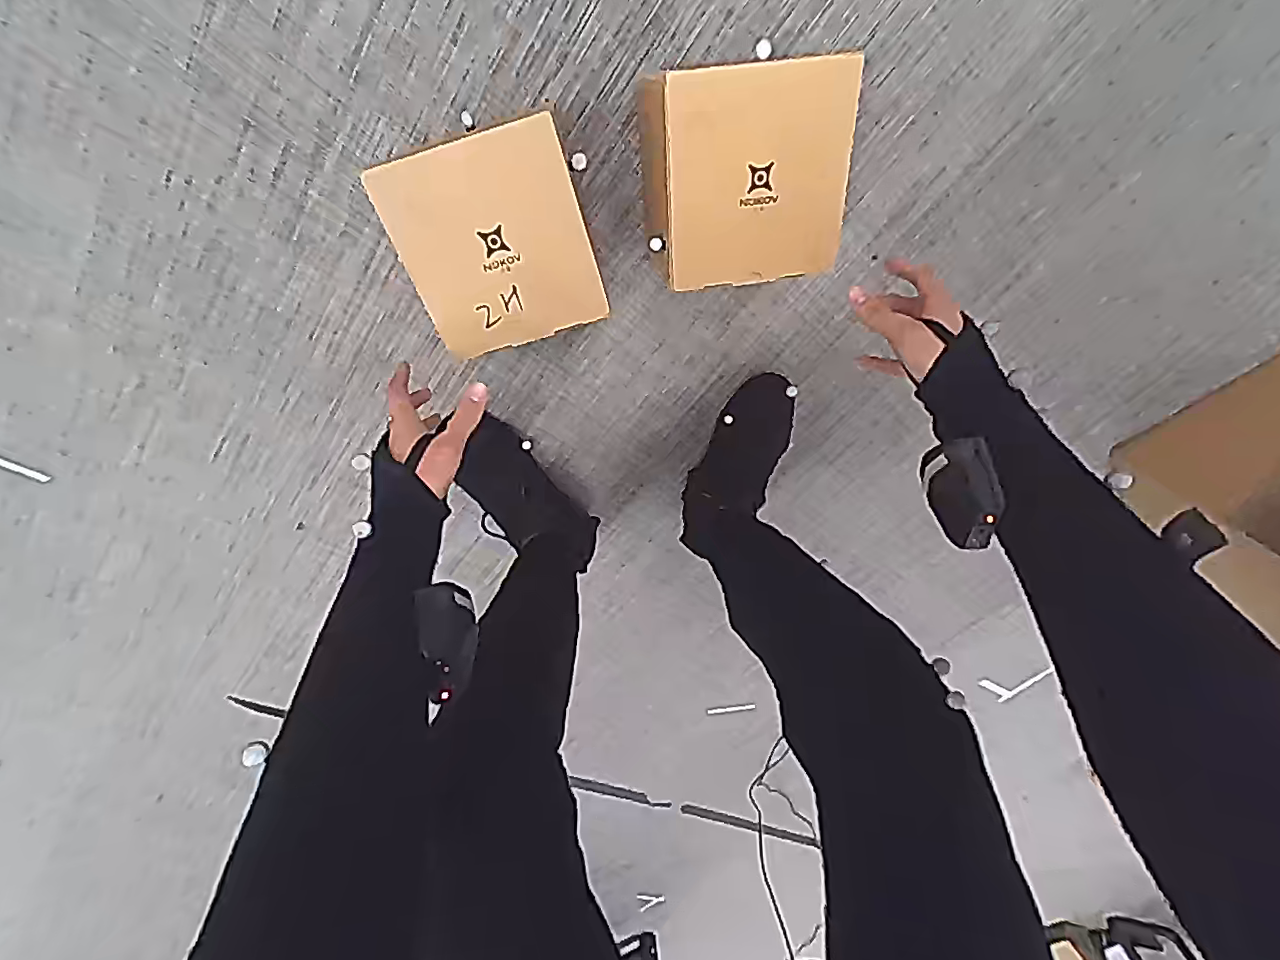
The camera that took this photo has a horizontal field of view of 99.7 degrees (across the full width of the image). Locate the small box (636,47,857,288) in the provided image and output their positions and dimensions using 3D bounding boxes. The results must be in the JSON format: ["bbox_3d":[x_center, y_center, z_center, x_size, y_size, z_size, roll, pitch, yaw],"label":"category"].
[{"bbox_3d":[0.092,-0.314,0.545,0.168,0.176,0.179,-8,127,-3],"label":"small box"}]

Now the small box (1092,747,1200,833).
[{"bbox_3d":[1.574,0.962,1.692,0.179,0.176,0.168,-26,125,9],"label":"small box"}]

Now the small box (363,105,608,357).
[{"bbox_3d":[-0.139,-0.255,0.548,0.168,0.176,0.179,-16,127,3],"label":"small box"}]
